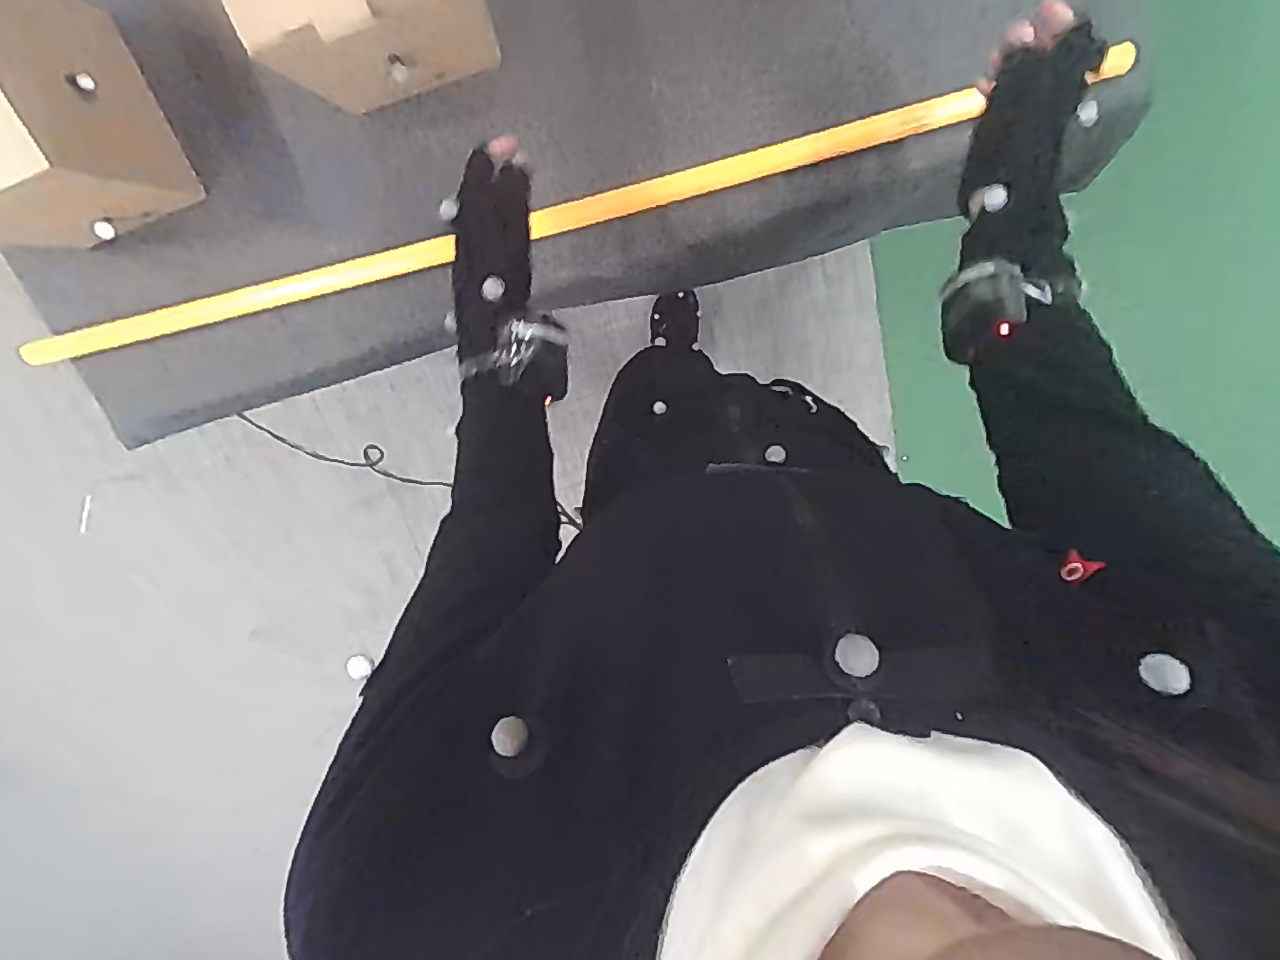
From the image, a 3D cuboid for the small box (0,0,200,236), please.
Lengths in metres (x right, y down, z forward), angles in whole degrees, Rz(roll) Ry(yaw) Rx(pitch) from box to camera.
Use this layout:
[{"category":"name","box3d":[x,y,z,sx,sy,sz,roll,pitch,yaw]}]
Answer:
[{"category":"small box","box3d":[-0.573,-0.342,0.493,0.168,0.176,0.179,-16,110,8]}]

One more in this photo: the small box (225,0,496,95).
[{"category":"small box","box3d":[-0.242,-0.454,0.445,0.168,0.176,0.179,-17,108,9]}]
